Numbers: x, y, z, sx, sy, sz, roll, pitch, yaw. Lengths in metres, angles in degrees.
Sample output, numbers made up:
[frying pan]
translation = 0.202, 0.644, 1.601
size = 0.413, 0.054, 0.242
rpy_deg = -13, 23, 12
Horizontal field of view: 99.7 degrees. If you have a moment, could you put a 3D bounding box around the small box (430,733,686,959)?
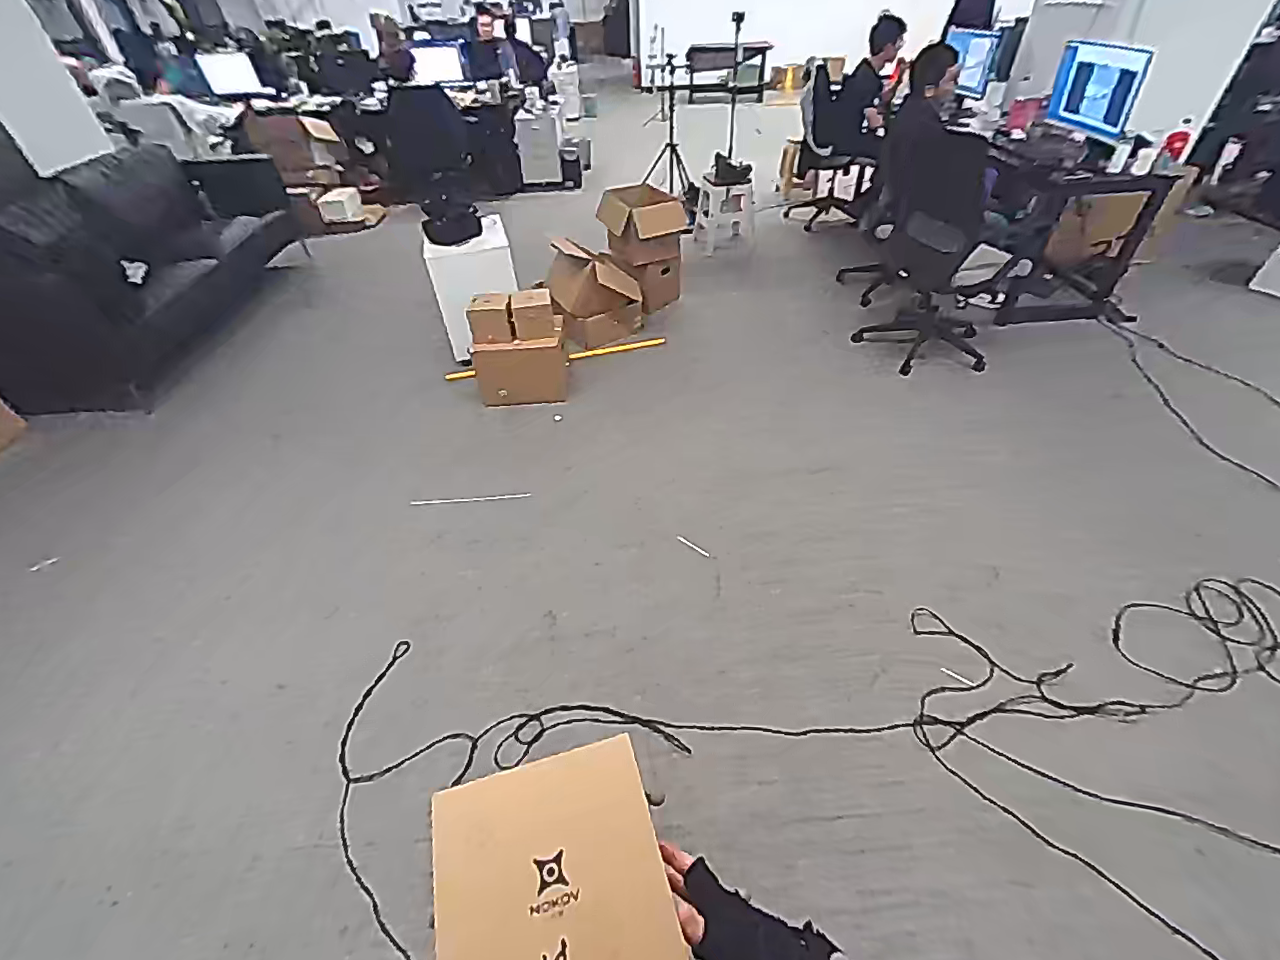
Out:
[small box]
translation = -0.064, 0.344, 0.443
size = 0.168, 0.176, 0.179
rpy_deg = -13, 48, -10
